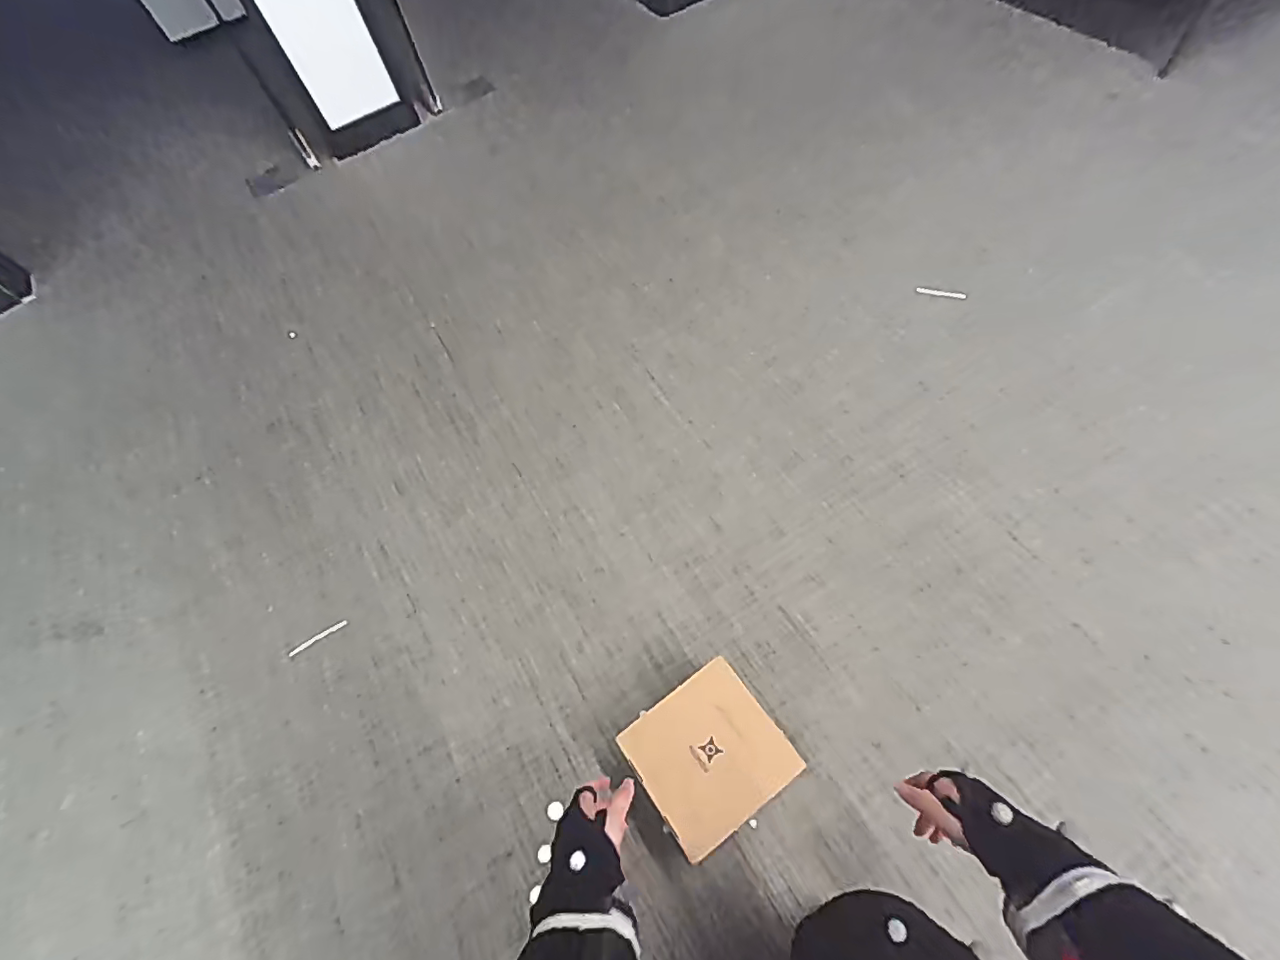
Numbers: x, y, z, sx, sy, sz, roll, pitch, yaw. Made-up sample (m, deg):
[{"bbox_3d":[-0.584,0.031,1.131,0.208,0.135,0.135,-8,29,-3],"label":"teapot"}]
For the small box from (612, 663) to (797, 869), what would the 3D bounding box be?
[{"bbox_3d":[0.087,0.384,0.738,0.179,0.176,0.168,-34,63,-11],"label":"small box"}]
